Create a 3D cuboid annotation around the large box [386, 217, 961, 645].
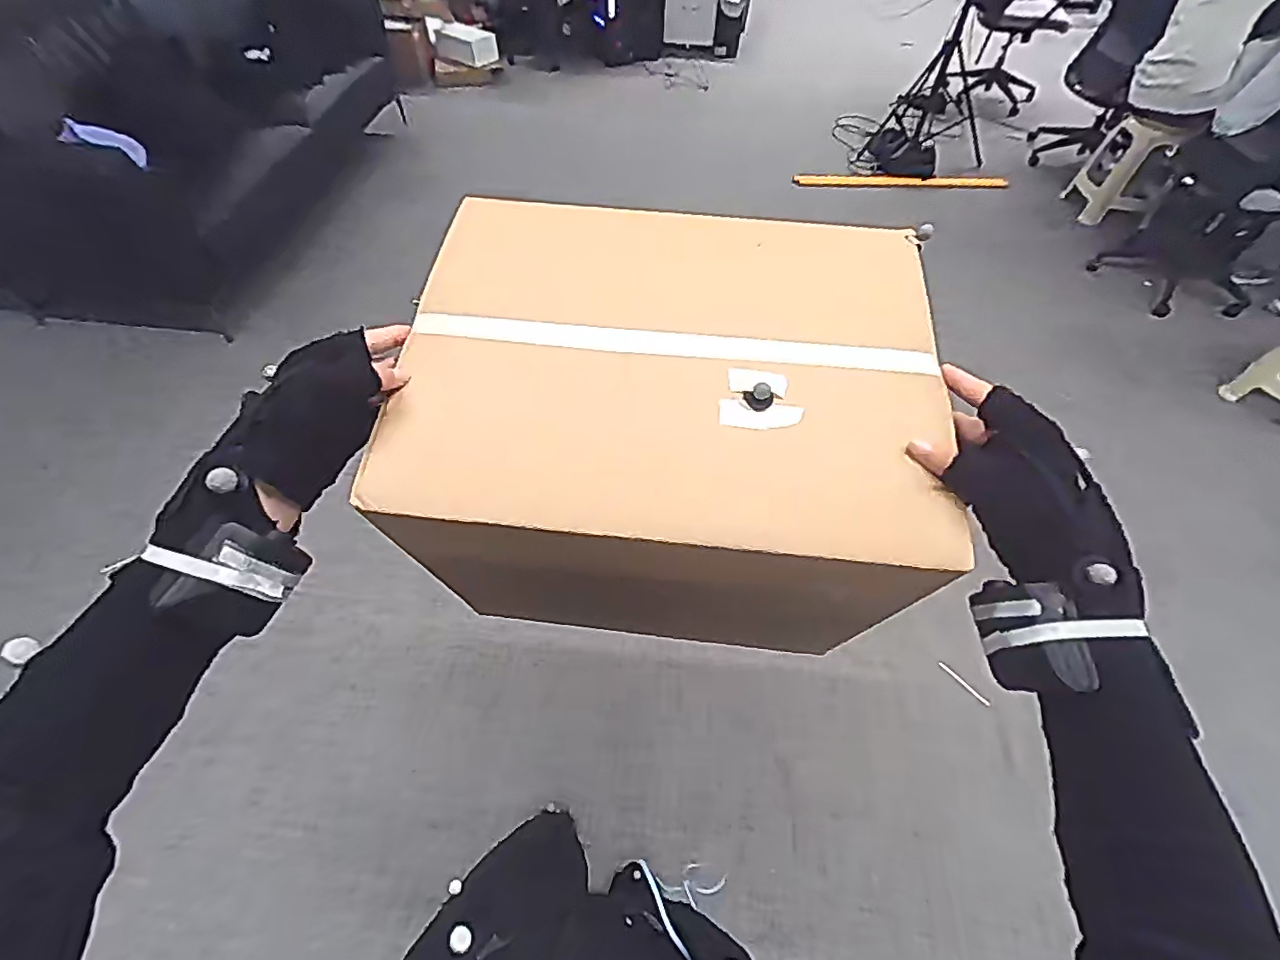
[{"bbox_3d":[0.029,-0.028,0.566,0.408,0.320,0.320,6,63,2],"label":"large box"}]
